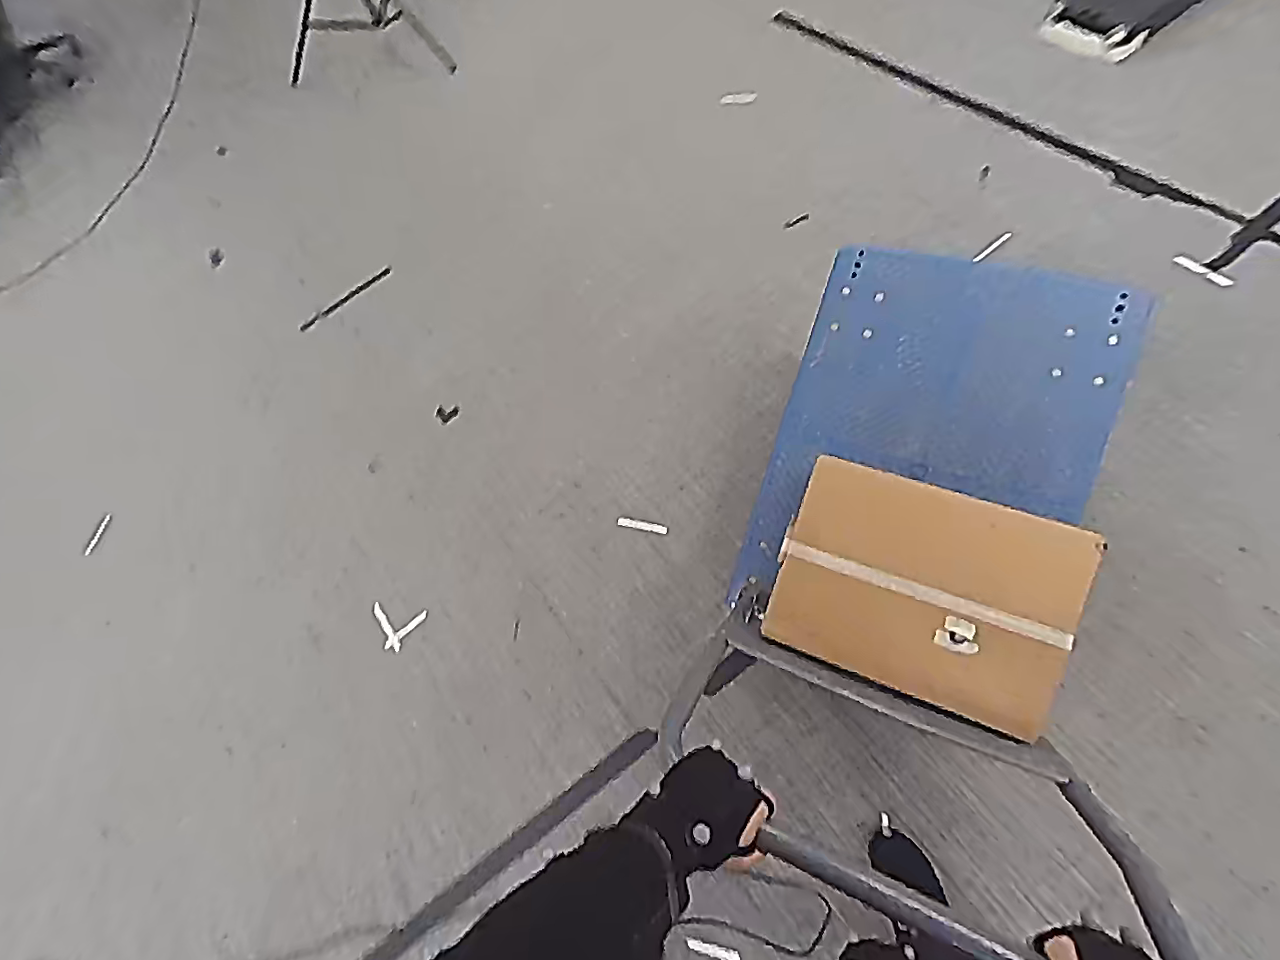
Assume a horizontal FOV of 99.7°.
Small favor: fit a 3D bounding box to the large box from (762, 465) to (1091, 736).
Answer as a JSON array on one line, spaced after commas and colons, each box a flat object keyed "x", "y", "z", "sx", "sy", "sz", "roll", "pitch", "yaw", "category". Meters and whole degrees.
[{"x": 0.467, "y": 0.182, "z": 0.980, "sx": 0.408, "sy": 0.320, "sz": 0.320, "roll": 18, "pitch": 93, "yaw": 17, "category": "large box"}]
